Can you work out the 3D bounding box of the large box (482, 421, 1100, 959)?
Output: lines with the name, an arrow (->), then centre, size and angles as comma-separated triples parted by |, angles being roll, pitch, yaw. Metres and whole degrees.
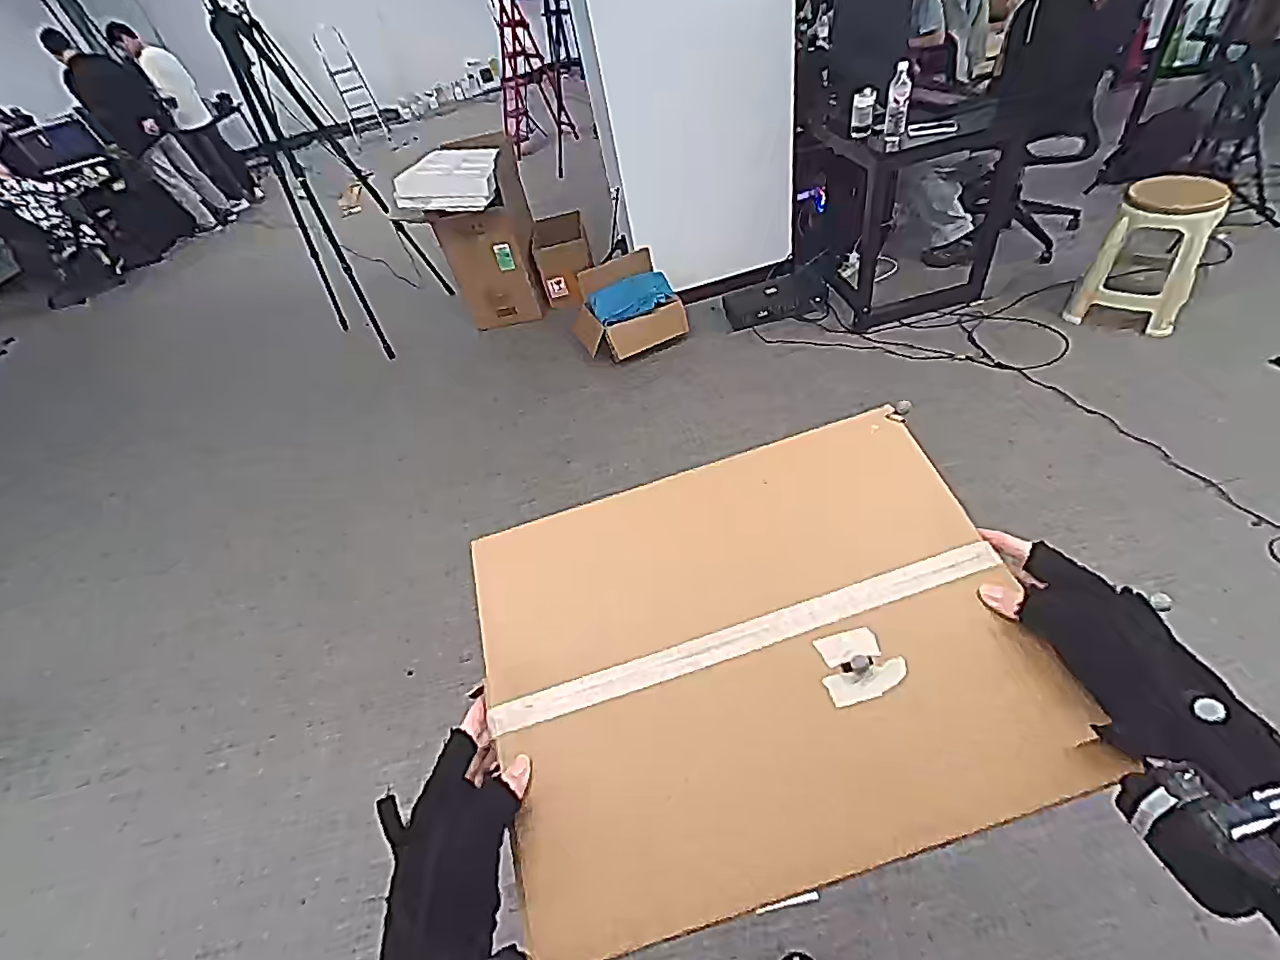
large box -> 0.102, 0.203, 0.559 | 0.408, 0.320, 0.320 | -18, 59, -1
